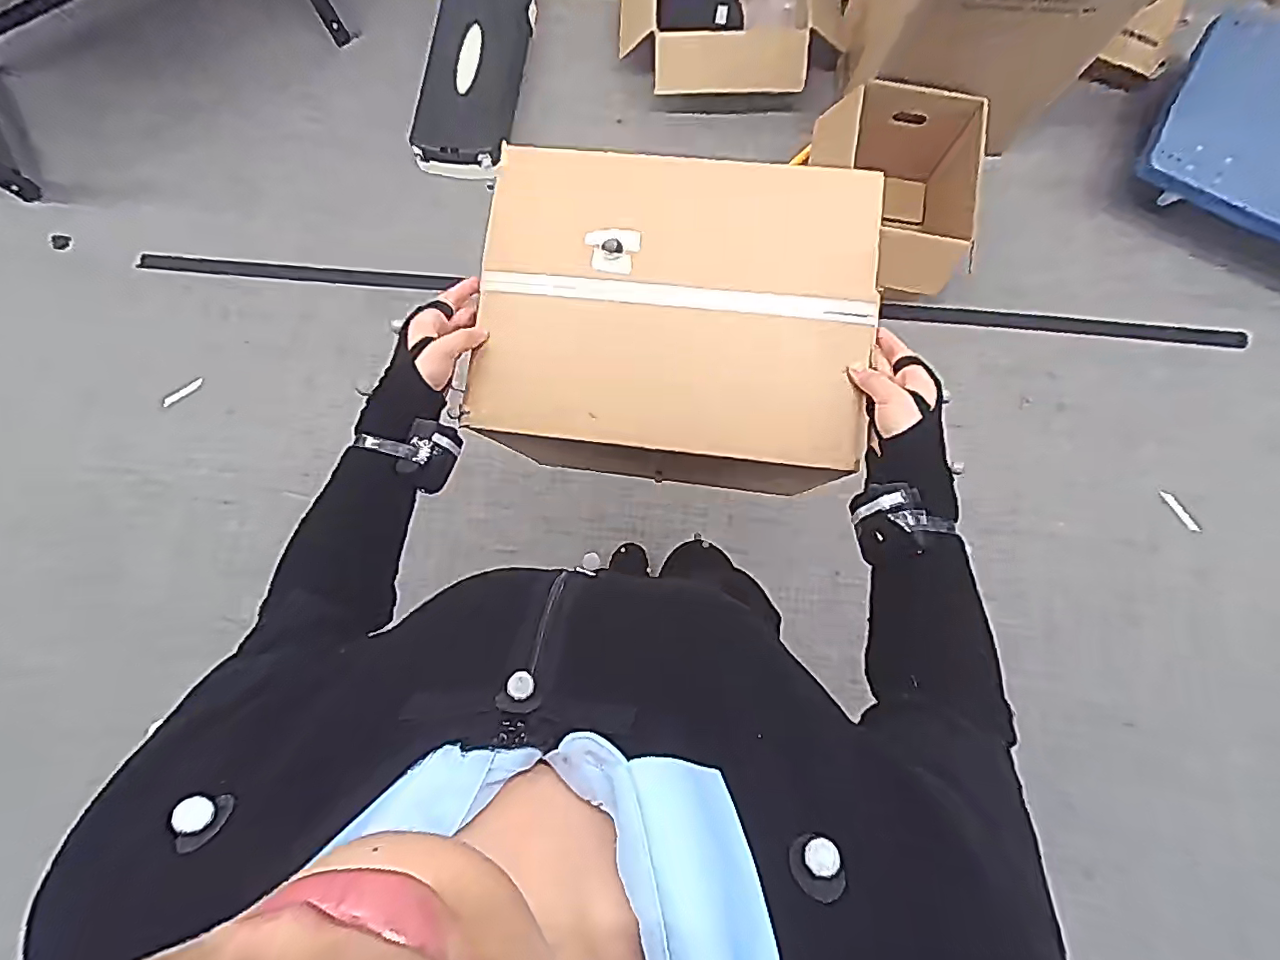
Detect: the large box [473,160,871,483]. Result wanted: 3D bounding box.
[{"bbox_3d":[0.047,-0.174,0.717,0.408,0.320,0.320,6,83,5],"label":"large box"}]
